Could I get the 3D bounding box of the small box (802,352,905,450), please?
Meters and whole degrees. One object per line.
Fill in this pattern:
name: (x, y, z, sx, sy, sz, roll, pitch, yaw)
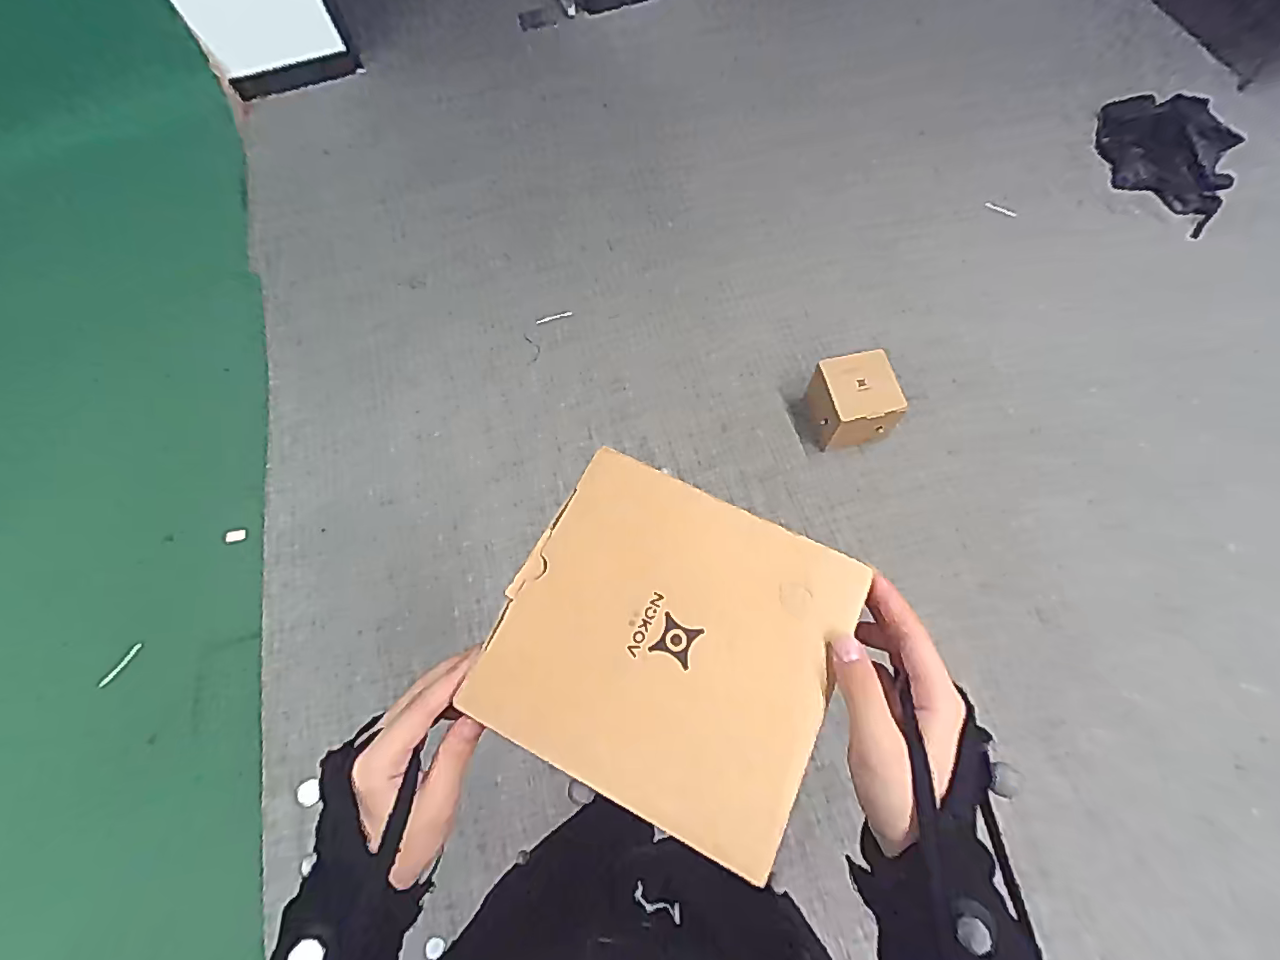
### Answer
small box: (0.525, -0.189, 1.358, 0.168, 0.176, 0.179, -11, 66, -3)
